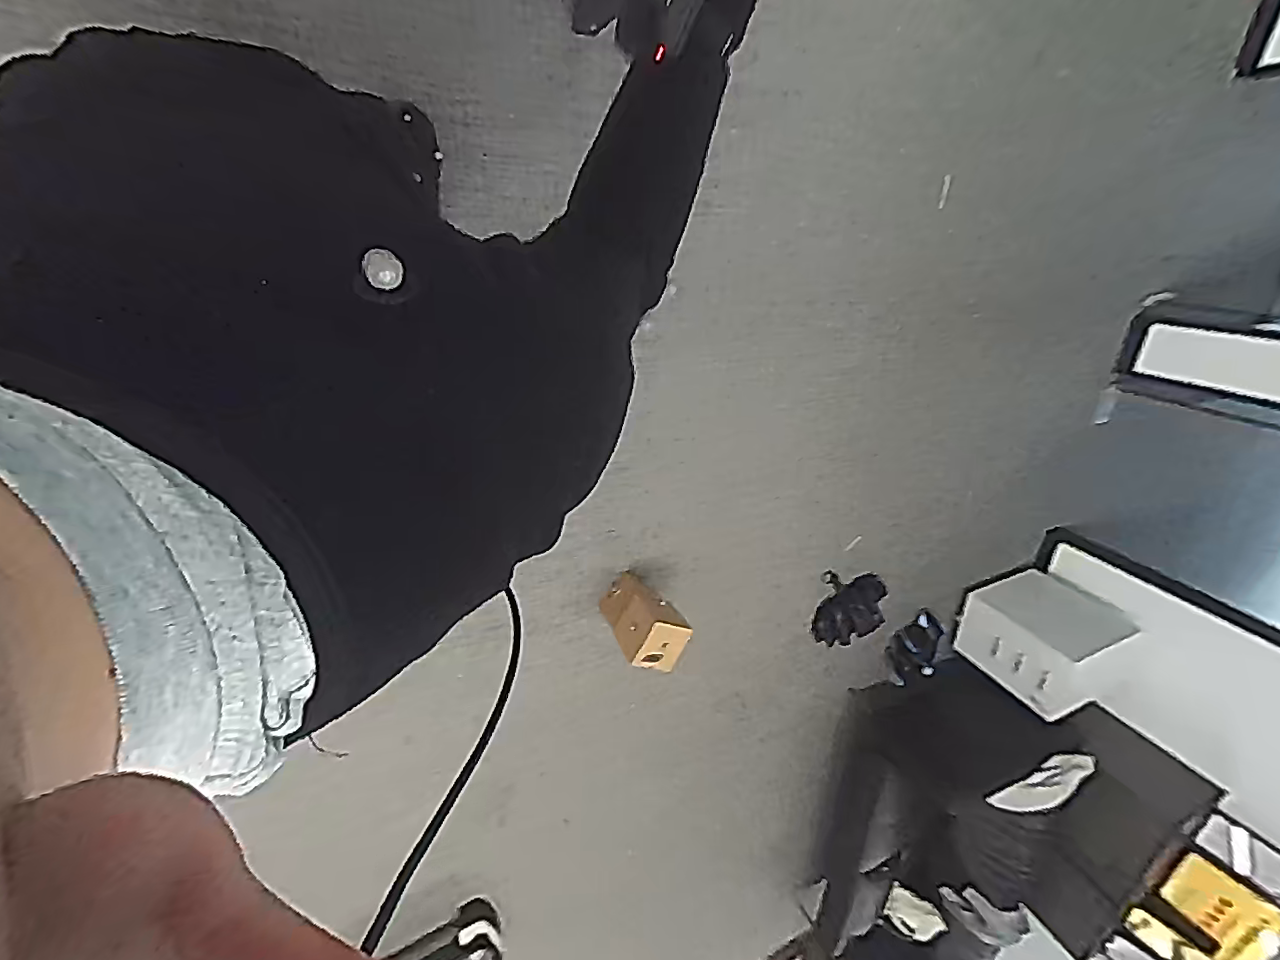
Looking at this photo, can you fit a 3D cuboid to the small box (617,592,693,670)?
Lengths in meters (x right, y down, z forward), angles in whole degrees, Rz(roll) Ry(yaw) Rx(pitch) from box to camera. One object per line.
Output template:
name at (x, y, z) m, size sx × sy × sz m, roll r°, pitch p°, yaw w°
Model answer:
small box at (0.042, 0.511, 1.832) m, size 0.168 × 0.176 × 0.179 m, roll 22°, pitch 102°, yaw -33°

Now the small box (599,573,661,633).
small box at (-0.018, 0.469, 1.981) m, size 0.179 × 0.176 × 0.168 m, roll 37°, pitch 94°, yaw -33°
